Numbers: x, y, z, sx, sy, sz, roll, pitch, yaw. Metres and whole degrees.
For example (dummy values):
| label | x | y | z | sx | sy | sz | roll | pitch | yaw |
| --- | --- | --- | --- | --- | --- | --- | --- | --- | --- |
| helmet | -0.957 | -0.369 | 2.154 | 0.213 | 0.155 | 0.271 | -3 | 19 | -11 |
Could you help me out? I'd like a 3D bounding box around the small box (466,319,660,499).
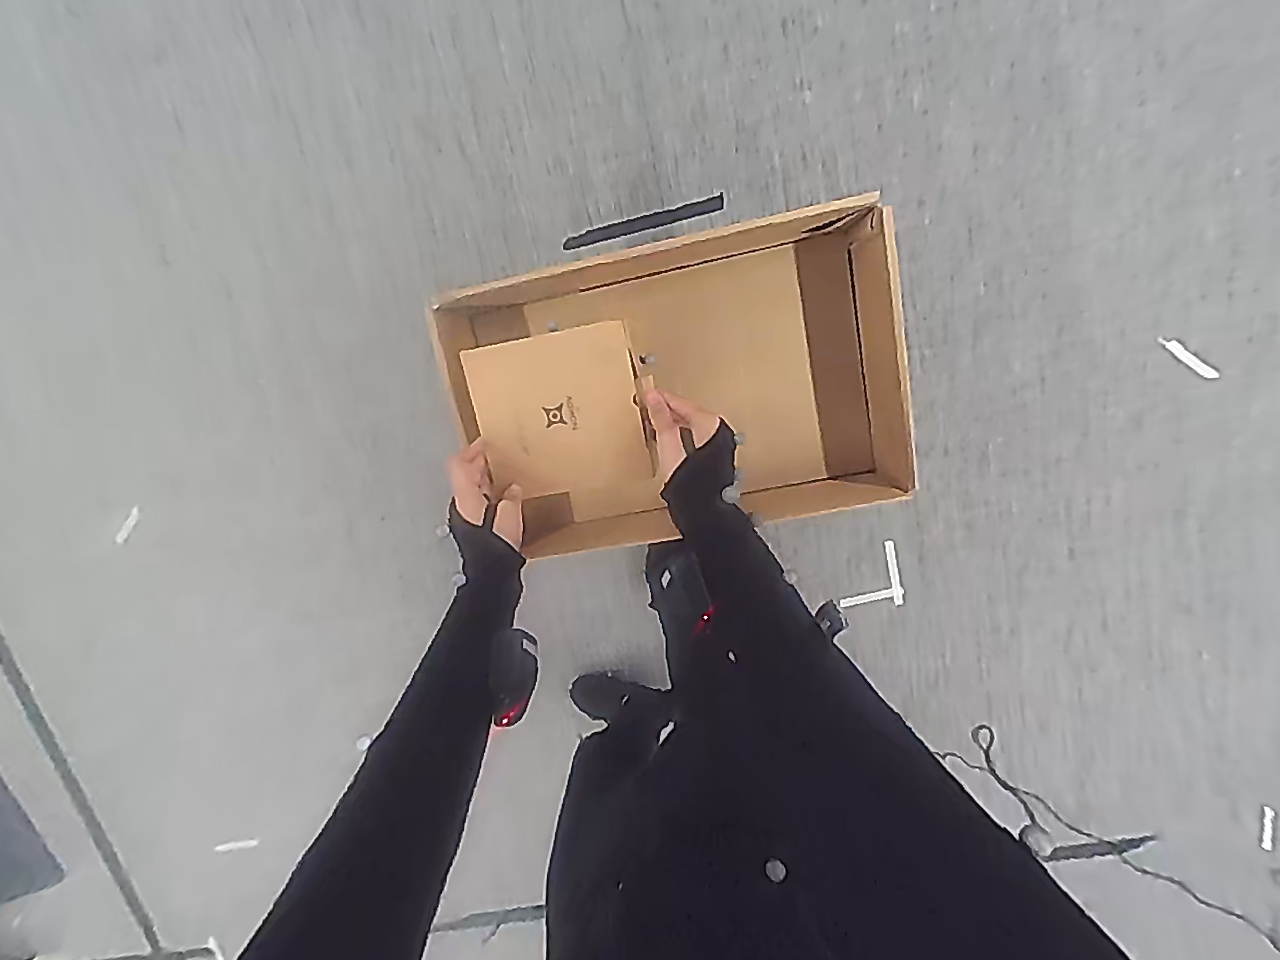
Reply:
| label | x | y | z | sx | sy | sz | roll | pitch | yaw |
| --- | --- | --- | --- | --- | --- | --- | --- | --- | --- |
| small box | -0.073 | -0.089 | 0.634 | 0.179 | 0.176 | 0.168 | -9 | 102 | 7 |
